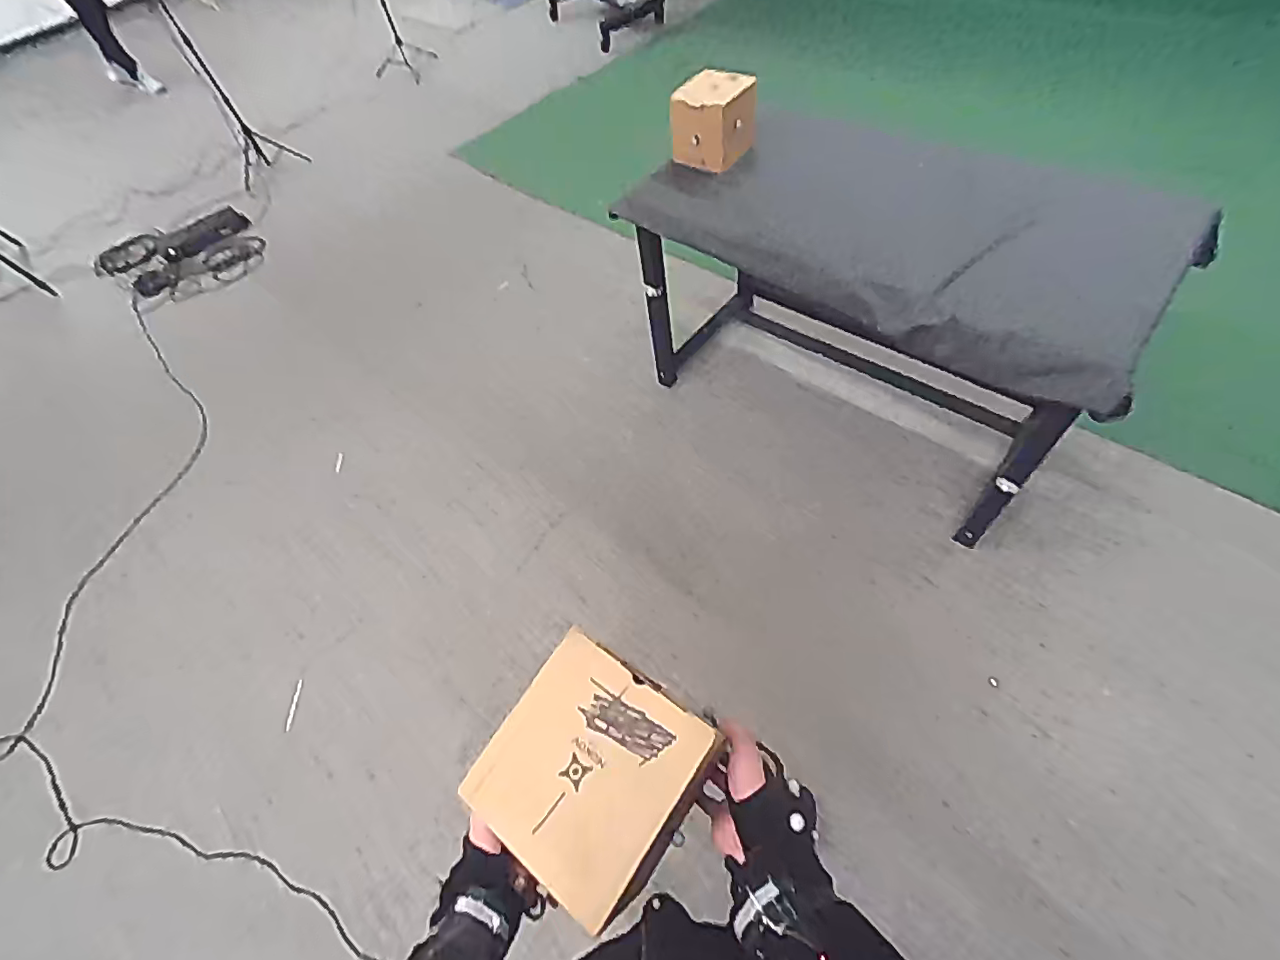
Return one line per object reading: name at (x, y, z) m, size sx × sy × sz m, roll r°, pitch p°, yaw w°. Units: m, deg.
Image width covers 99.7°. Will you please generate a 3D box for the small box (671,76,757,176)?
small box at (0.207, -0.971, 1.489) m, size 0.168 × 0.176 × 0.179 m, roll 29°, pitch 66°, yaw 25°
